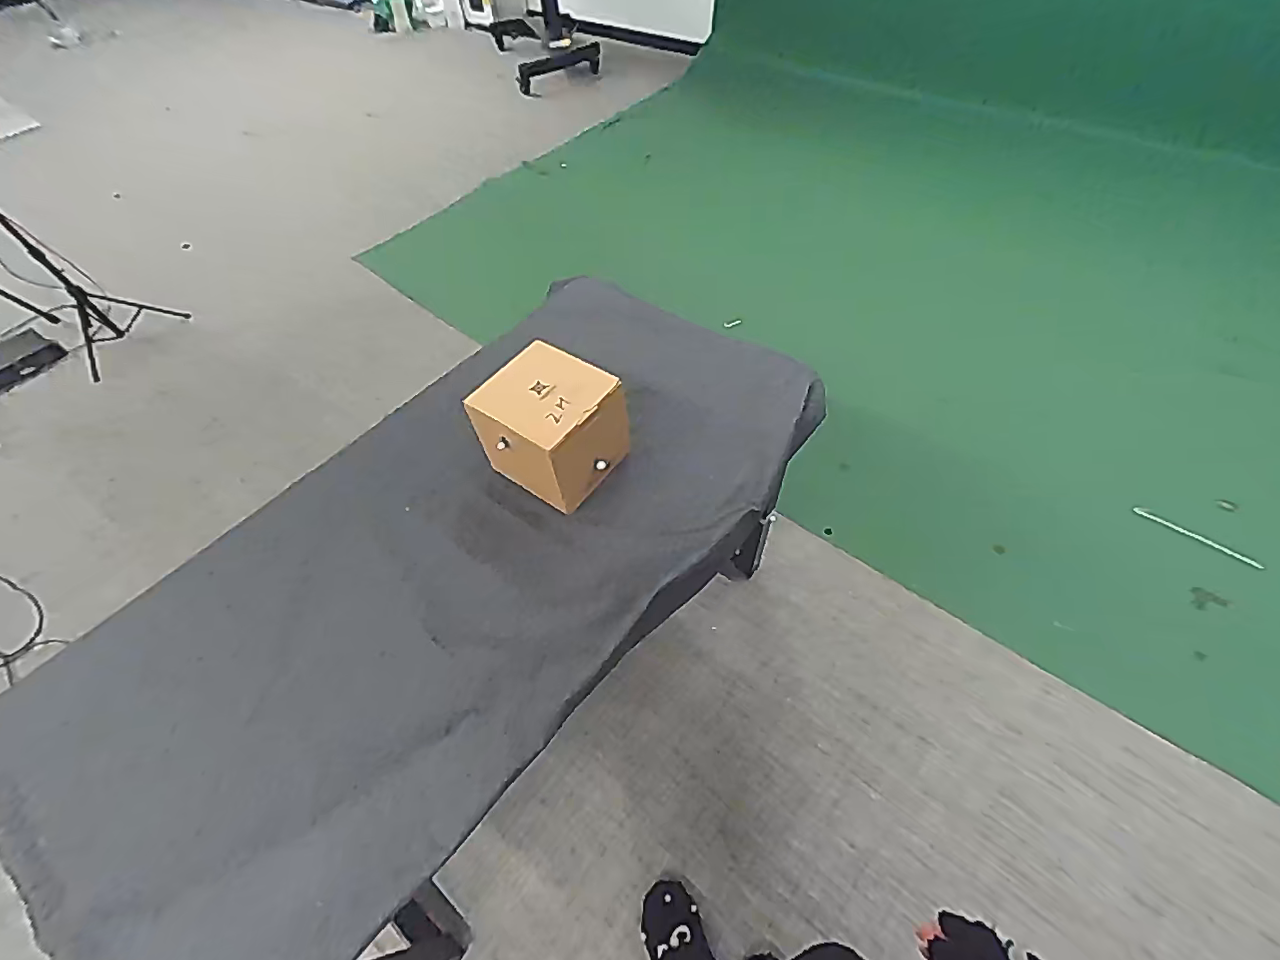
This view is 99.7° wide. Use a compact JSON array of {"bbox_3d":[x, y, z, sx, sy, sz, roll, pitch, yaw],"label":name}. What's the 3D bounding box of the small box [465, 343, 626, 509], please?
[{"bbox_3d":[-0.140,-0.082,0.864,0.179,0.176,0.168,30,62,22],"label":"small box"}]
